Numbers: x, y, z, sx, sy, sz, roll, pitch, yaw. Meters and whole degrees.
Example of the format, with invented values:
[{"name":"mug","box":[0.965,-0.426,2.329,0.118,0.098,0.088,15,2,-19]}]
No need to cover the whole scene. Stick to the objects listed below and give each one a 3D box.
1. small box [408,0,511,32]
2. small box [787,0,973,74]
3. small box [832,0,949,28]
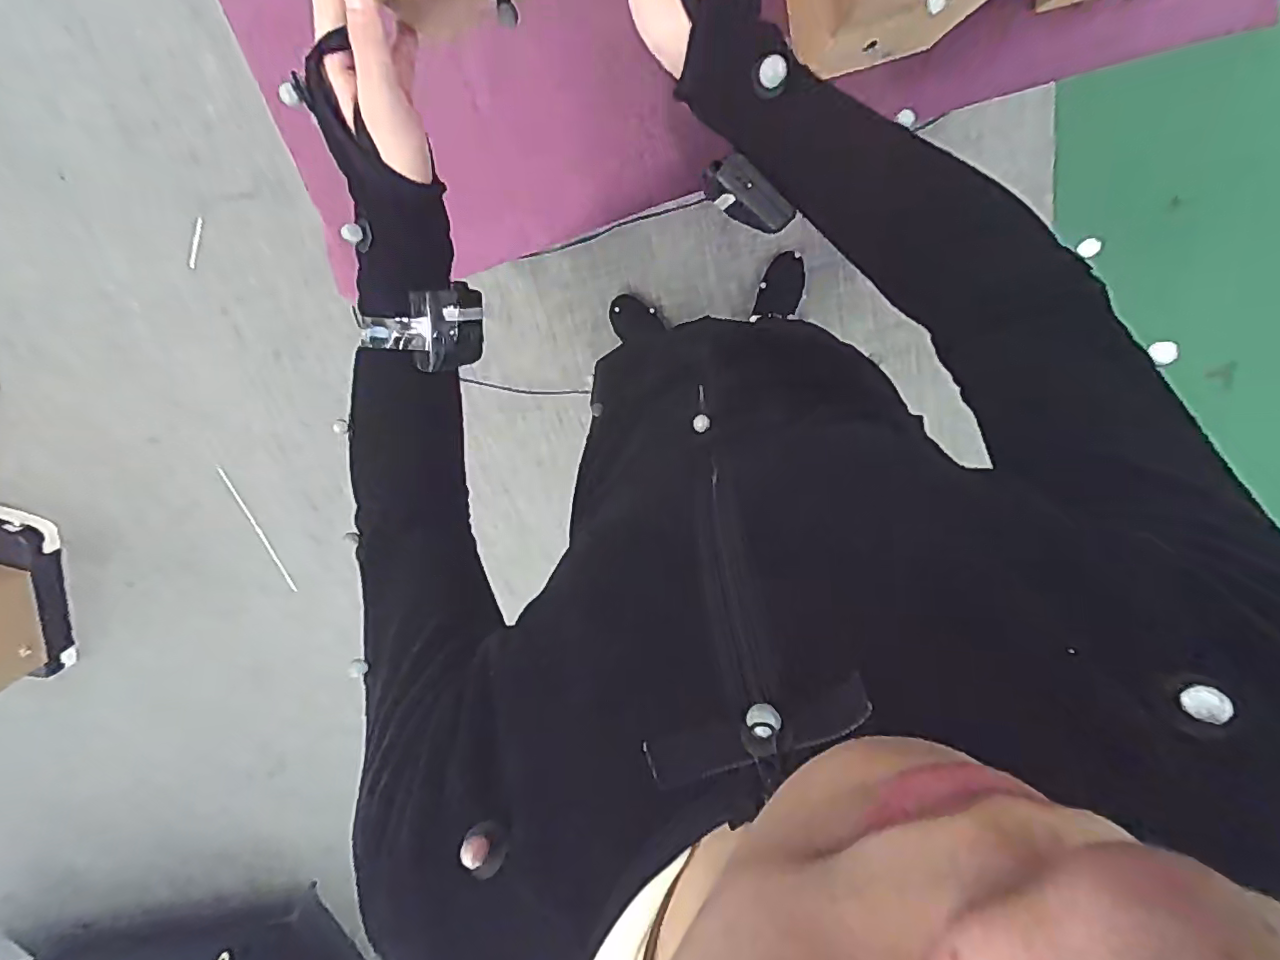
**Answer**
[{"name":"small box","box":[-0.113,-0.408,0.311,0.168,0.176,0.179,-23,122,7]},{"name":"small box","box":[0.254,-0.565,0.571,0.168,0.176,0.179,-12,110,8]},{"name":"small box","box":[0.245,-0.506,0.418,0.168,0.176,0.179,-11,111,8]}]
